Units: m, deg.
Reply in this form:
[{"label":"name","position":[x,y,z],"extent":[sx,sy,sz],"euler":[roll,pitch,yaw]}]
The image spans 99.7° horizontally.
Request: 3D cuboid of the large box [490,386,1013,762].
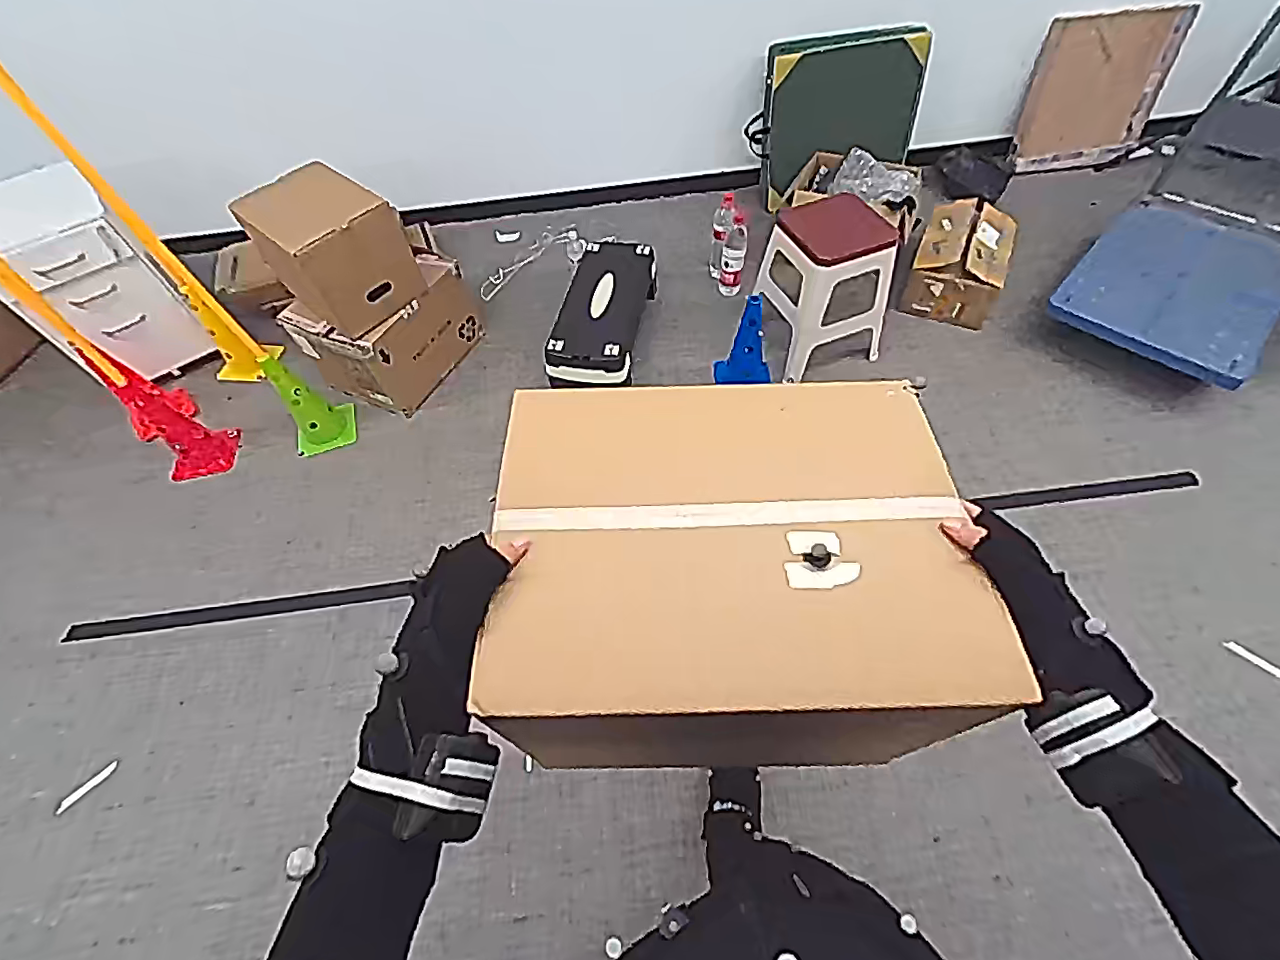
[{"label":"large box","position":[0.080,0.118,0.609],"extent":[0.408,0.320,0.320],"euler":[-2,56,0]}]
